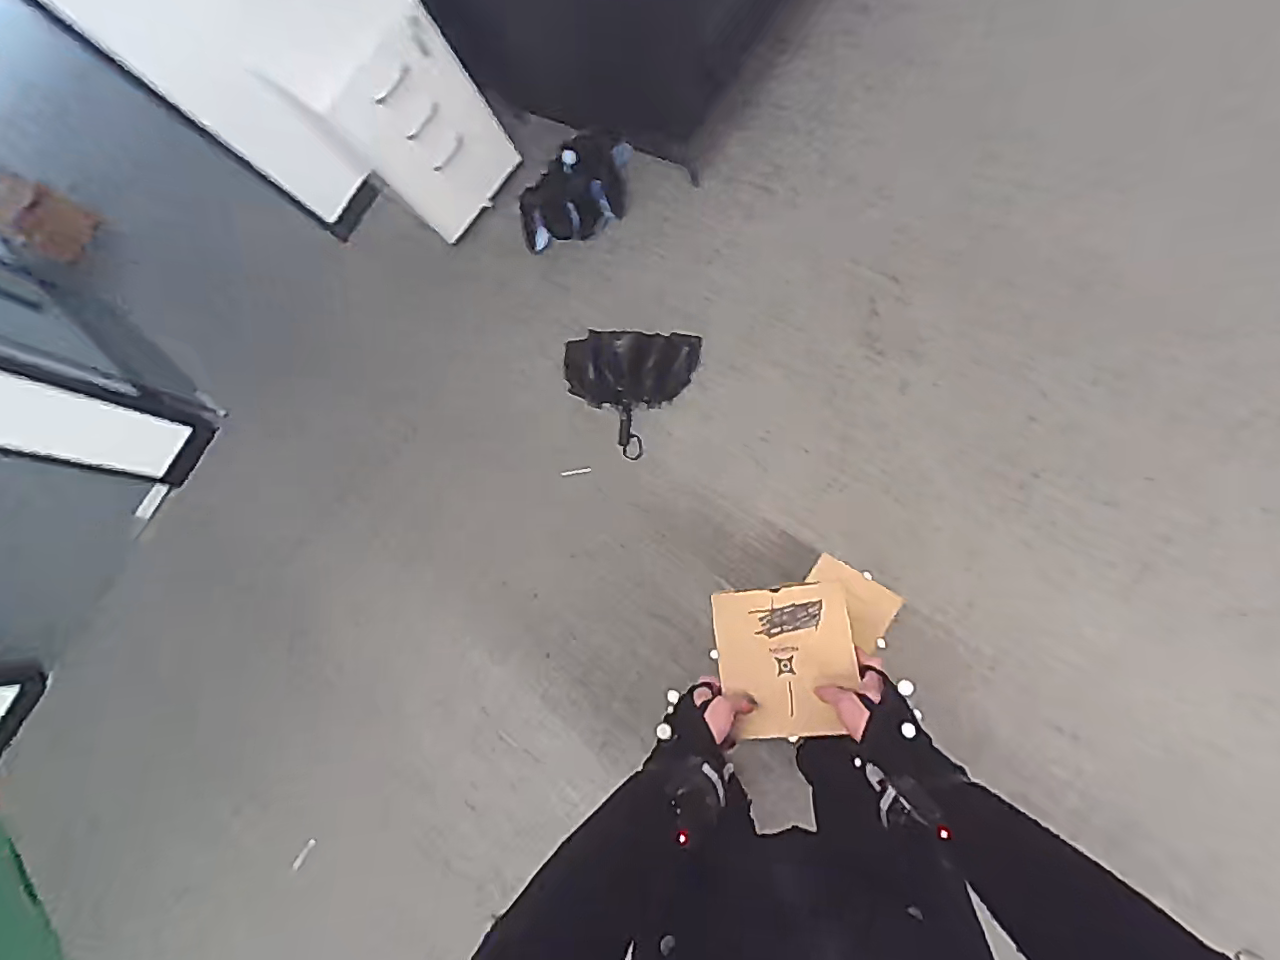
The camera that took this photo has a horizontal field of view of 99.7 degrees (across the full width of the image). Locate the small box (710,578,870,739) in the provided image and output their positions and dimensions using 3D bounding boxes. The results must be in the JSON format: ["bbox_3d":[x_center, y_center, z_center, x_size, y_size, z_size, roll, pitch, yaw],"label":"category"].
[{"bbox_3d":[0.191,0.236,0.714,0.168,0.176,0.179,-9,69,13],"label":"small box"}]

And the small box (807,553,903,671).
[{"bbox_3d":[0.396,0.271,1.081,0.168,0.176,0.179,32,87,23],"label":"small box"}]
